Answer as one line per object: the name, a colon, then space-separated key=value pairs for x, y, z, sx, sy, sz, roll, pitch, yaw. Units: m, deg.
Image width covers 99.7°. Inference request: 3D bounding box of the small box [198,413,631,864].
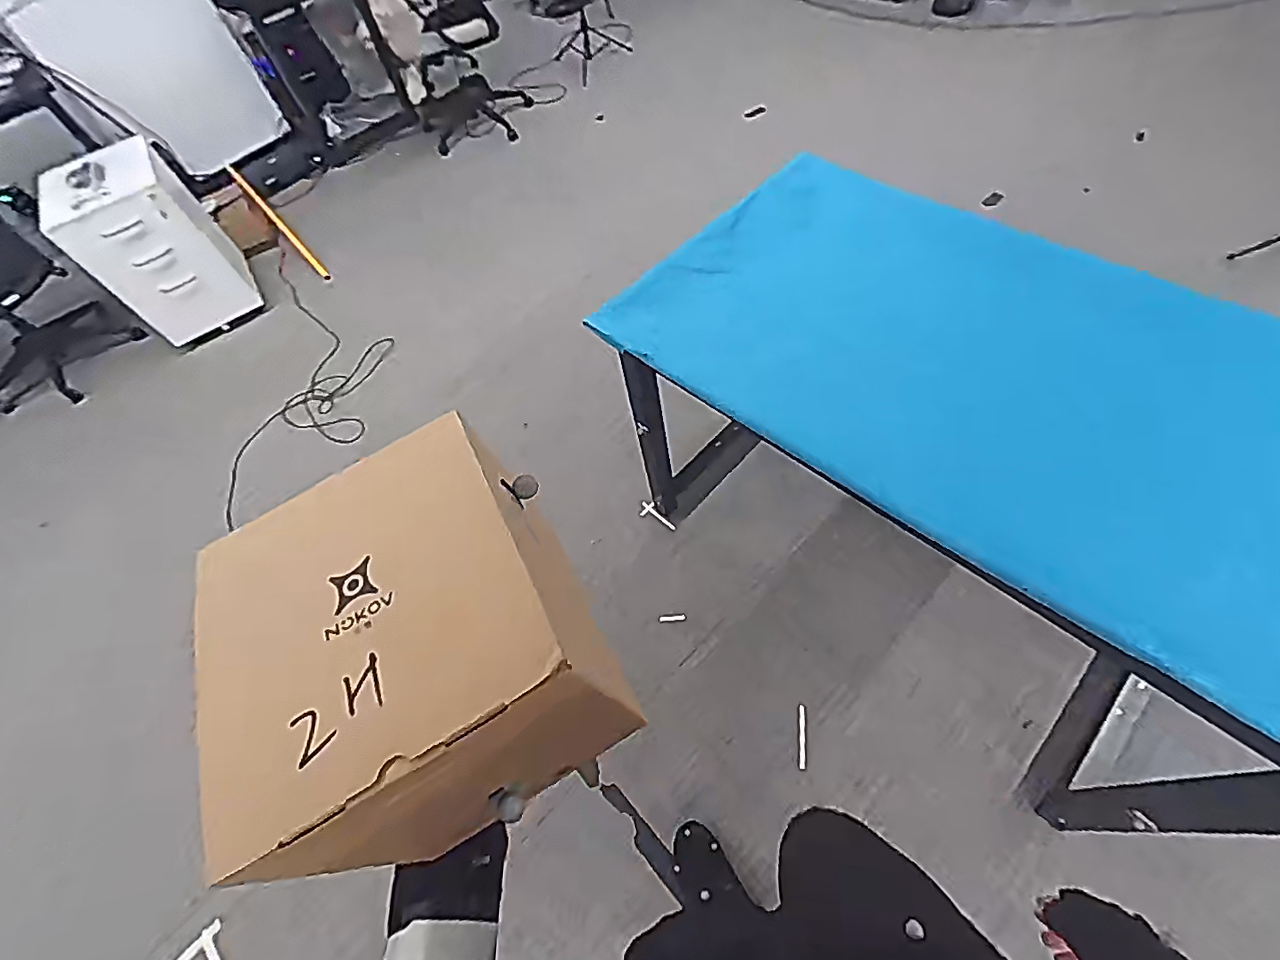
small box: x=-0.124 y=0.098 z=0.337 sx=0.168 sy=0.176 sz=0.179 roll=-28 pitch=59 yaw=-1
